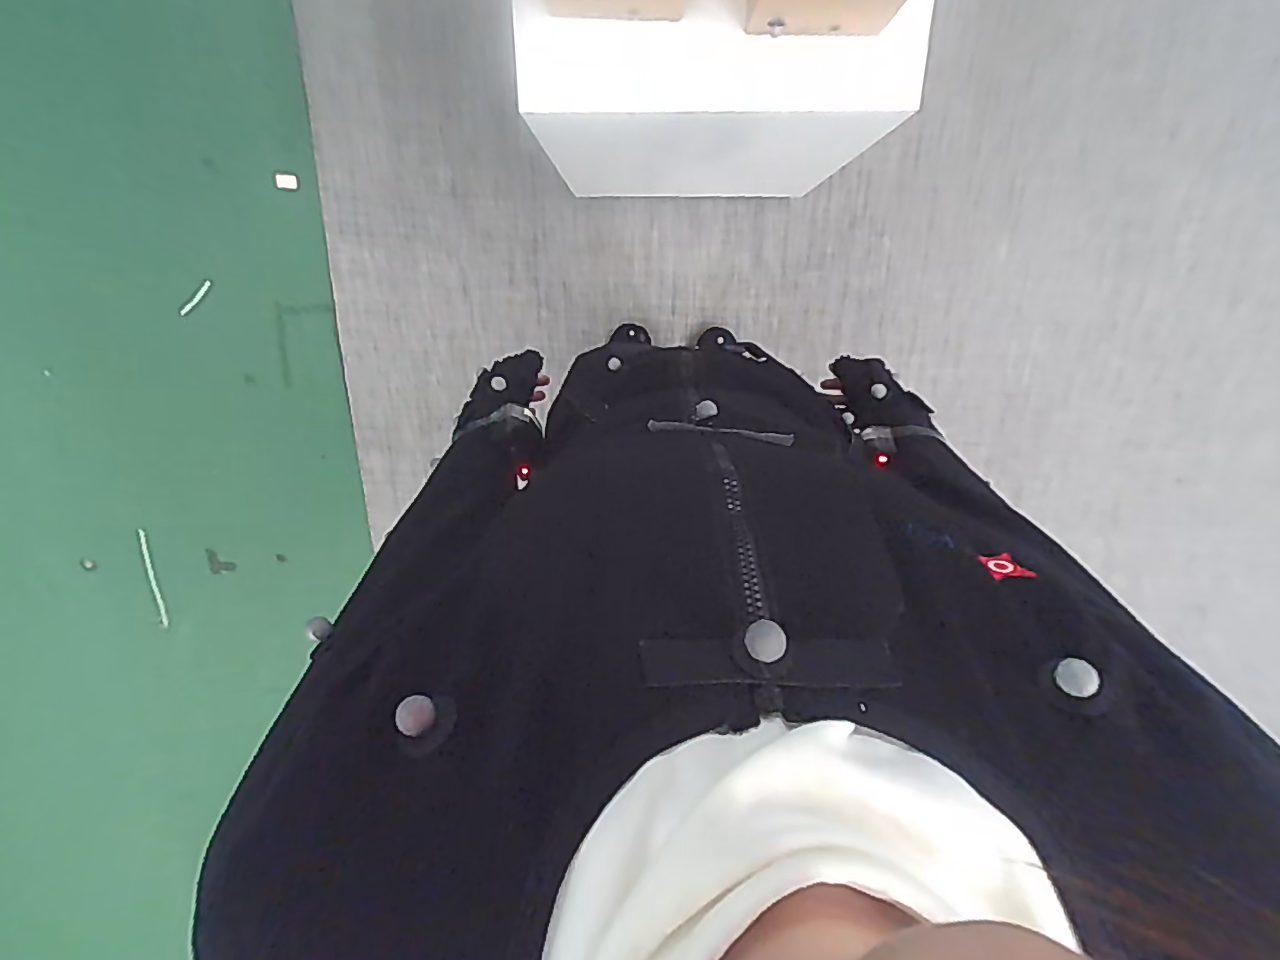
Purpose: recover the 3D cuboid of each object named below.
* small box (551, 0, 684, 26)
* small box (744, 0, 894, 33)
[{"bbox_3d":[-0.027,-0.621,0.558,0.168,0.176,0.179,3,106,1],"label":"small box"},{"bbox_3d":[0.205,-0.602,0.559,0.168,0.176,0.179,2,106,1],"label":"small box"}]
